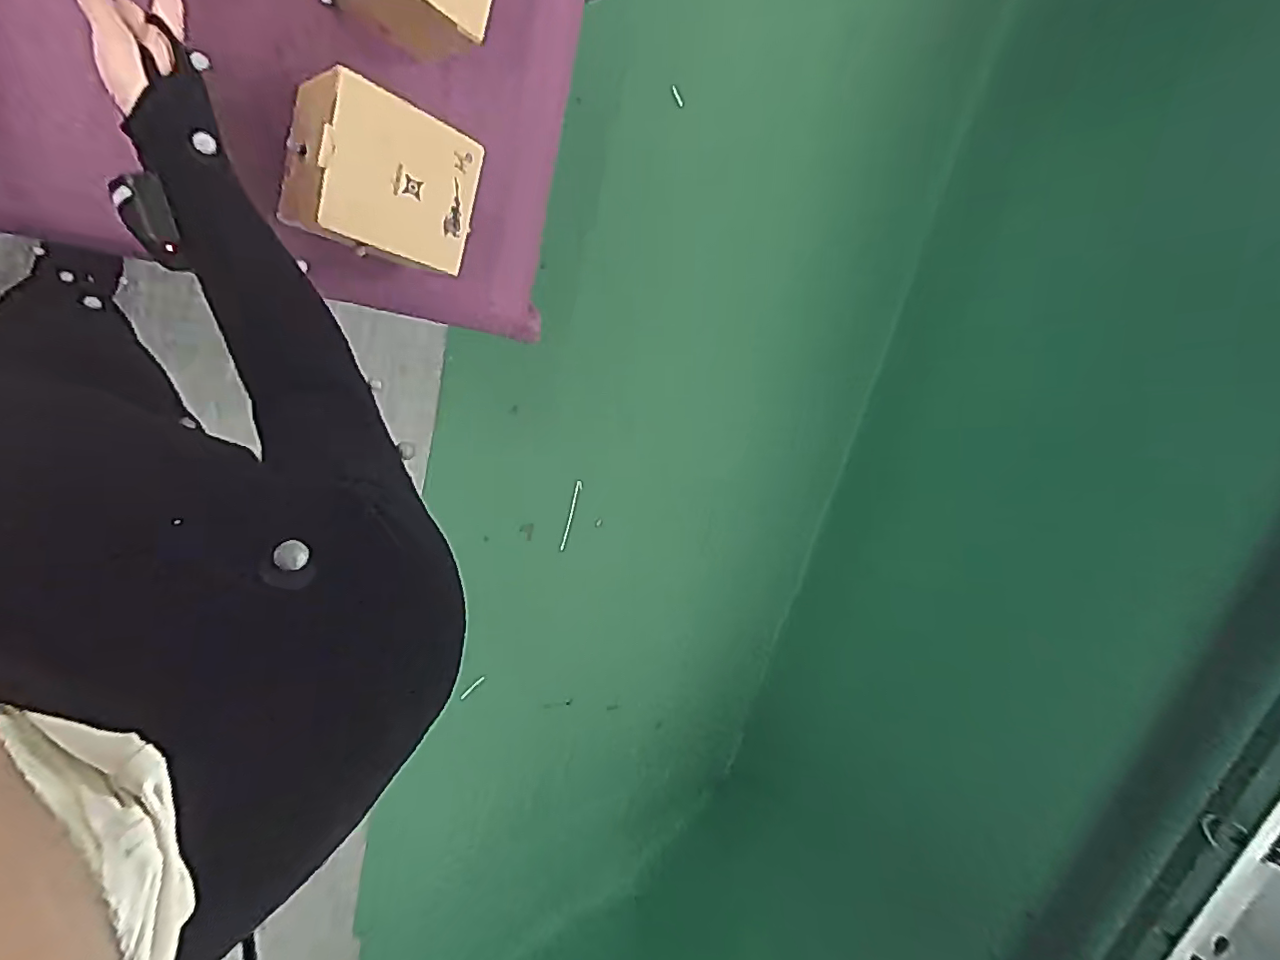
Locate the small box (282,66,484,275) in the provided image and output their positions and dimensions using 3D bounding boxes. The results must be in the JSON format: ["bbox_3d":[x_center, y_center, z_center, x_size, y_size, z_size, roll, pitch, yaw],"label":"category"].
[{"bbox_3d":[-0.334,-0.377,0.693,0.179,0.176,0.168,6,105,-47],"label":"small box"}]

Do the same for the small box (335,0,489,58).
[{"bbox_3d":[-0.274,-0.631,0.620,0.168,0.176,0.179,6,105,-48],"label":"small box"}]
